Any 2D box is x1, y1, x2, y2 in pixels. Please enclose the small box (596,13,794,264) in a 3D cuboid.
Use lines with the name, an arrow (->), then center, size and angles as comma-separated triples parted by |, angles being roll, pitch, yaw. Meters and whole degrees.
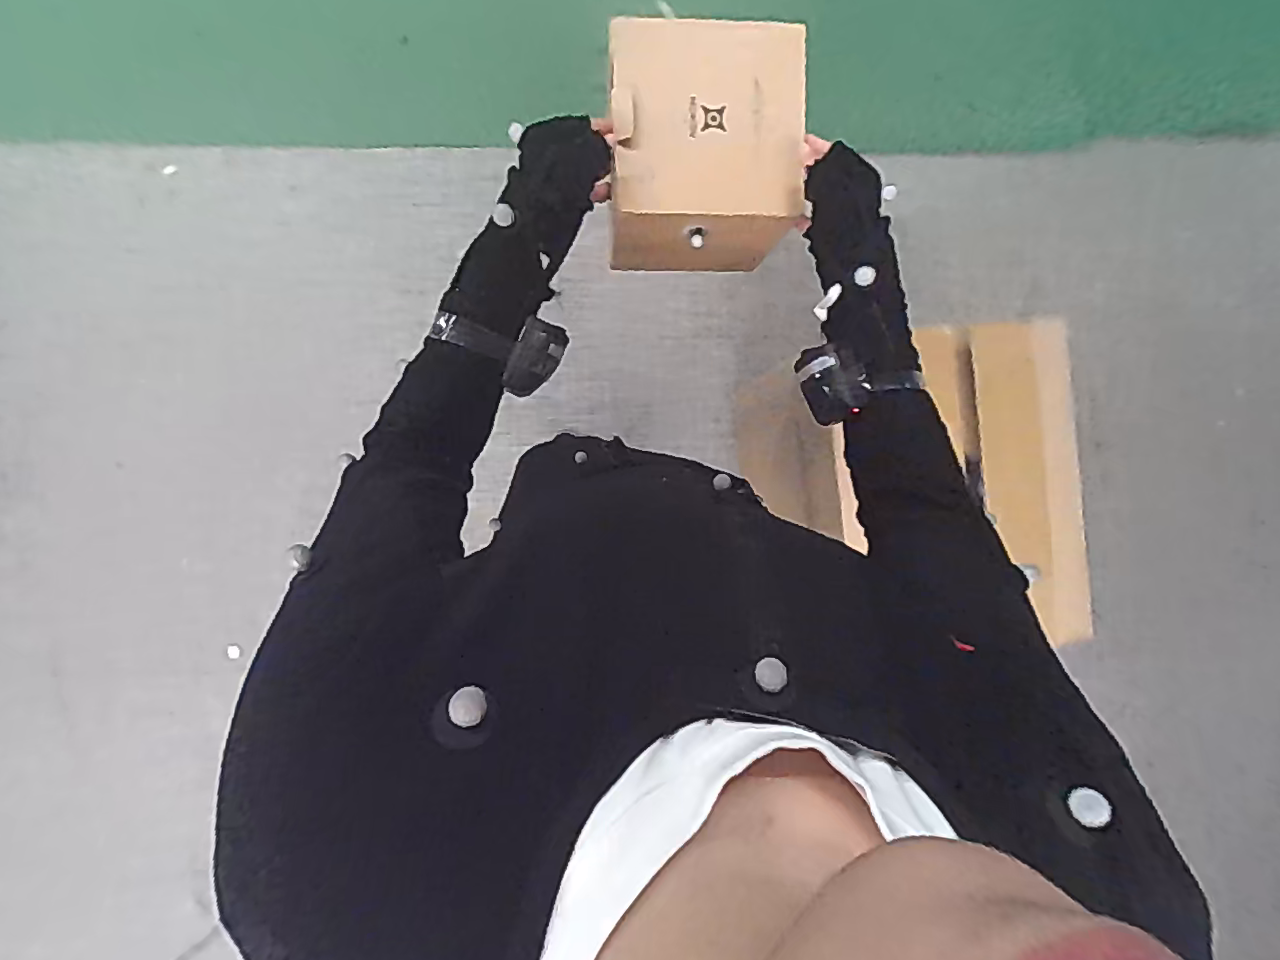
small box -> 0.045, -0.332, 0.561 | 0.179, 0.176, 0.168 | -3, 95, -6
